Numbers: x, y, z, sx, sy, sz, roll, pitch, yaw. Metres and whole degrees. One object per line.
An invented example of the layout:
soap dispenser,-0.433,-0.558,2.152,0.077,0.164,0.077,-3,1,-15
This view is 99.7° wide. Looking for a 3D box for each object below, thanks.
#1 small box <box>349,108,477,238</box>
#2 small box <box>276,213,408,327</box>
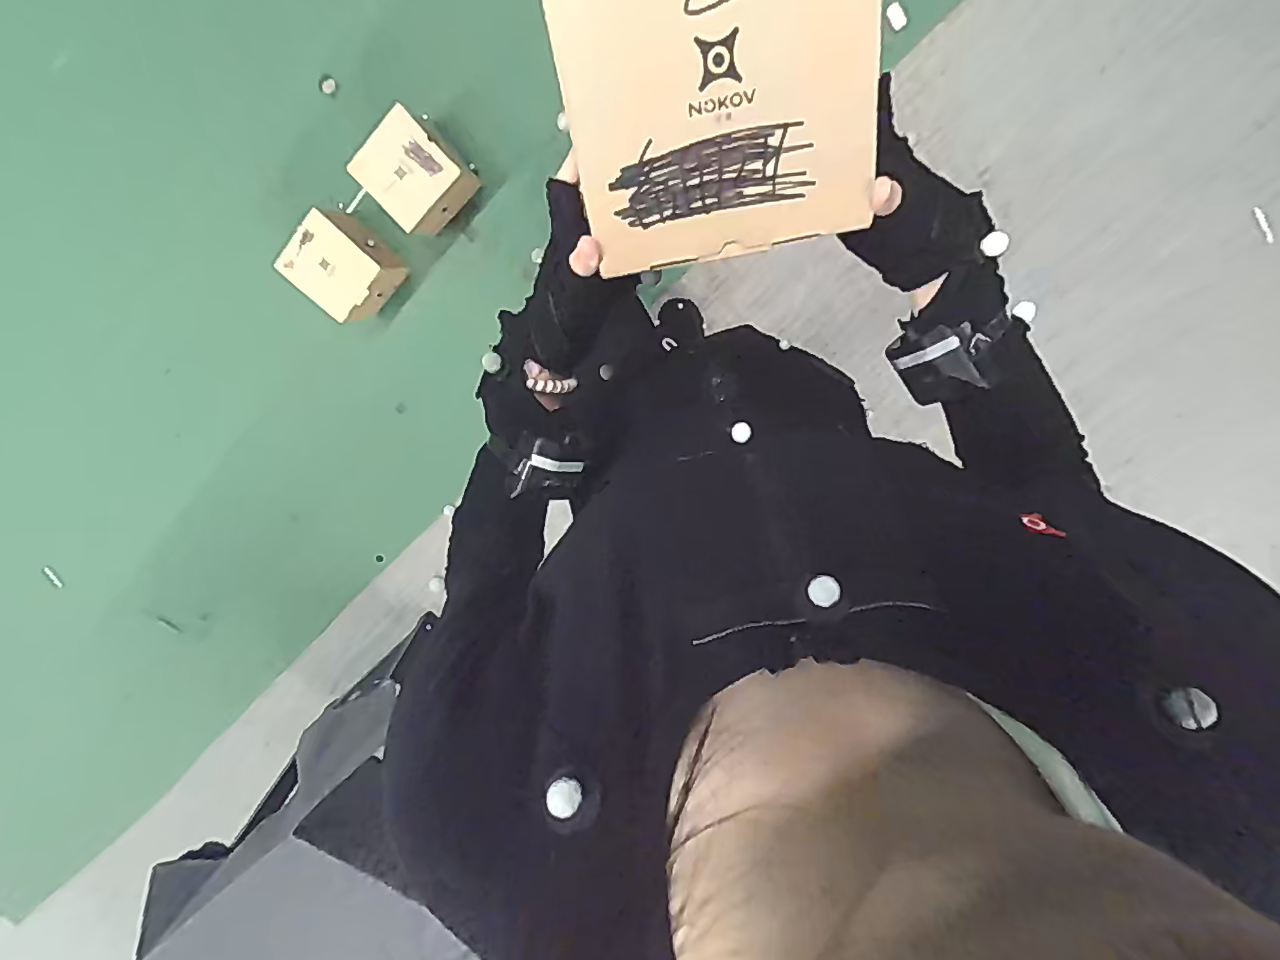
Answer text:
small box,-0.478,-0.654,1.175,0.179,0.176,0.168,-39,107,15
small box,-0.672,-0.484,1.243,0.168,0.176,0.179,-43,107,16
